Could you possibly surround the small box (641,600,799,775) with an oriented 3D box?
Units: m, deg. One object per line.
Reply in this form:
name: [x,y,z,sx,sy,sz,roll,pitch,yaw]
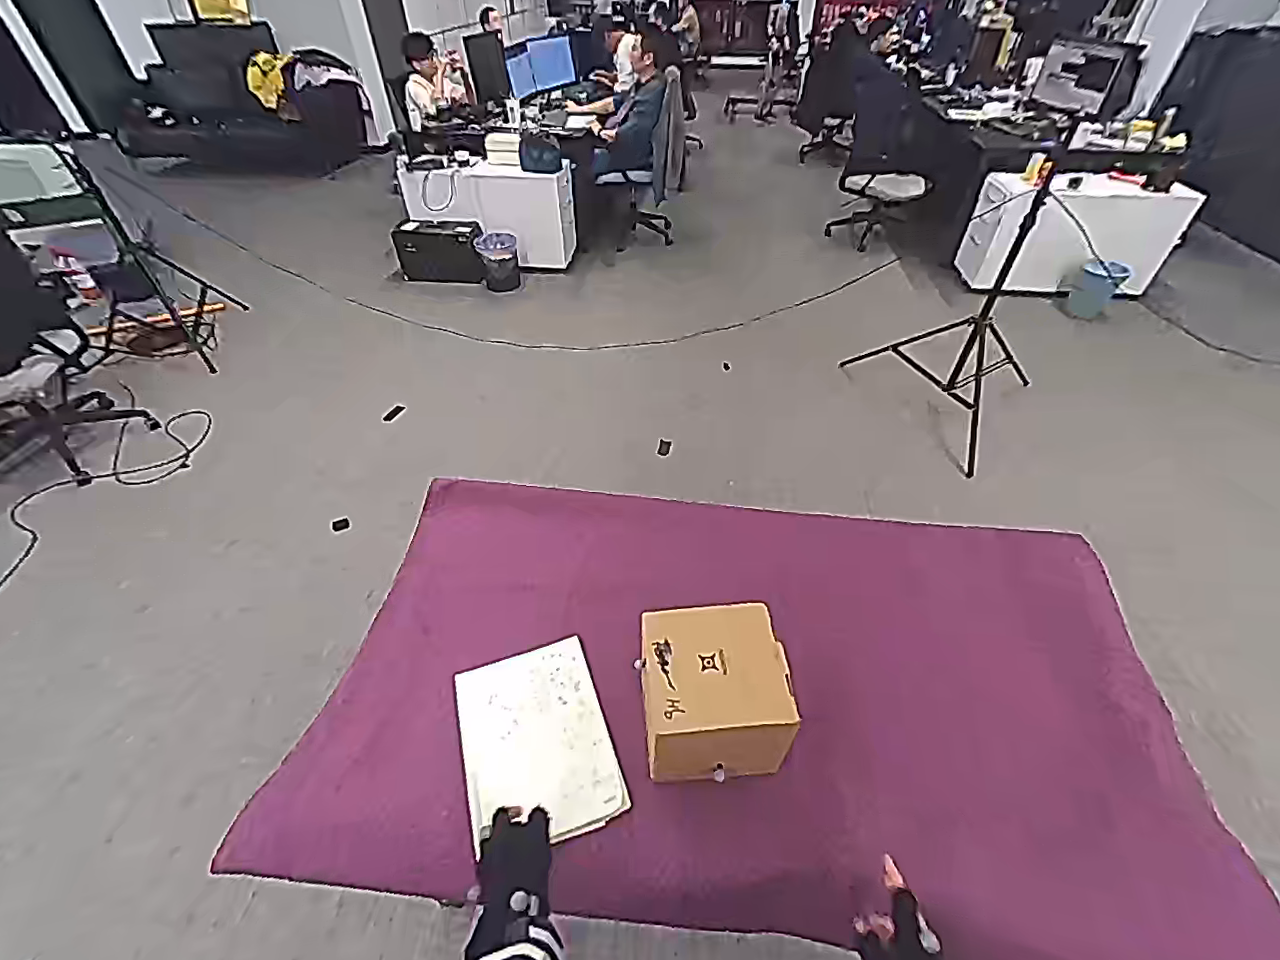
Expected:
small box: [0.095,0.283,0.739,0.179,0.176,0.168,-3,43,-4]
